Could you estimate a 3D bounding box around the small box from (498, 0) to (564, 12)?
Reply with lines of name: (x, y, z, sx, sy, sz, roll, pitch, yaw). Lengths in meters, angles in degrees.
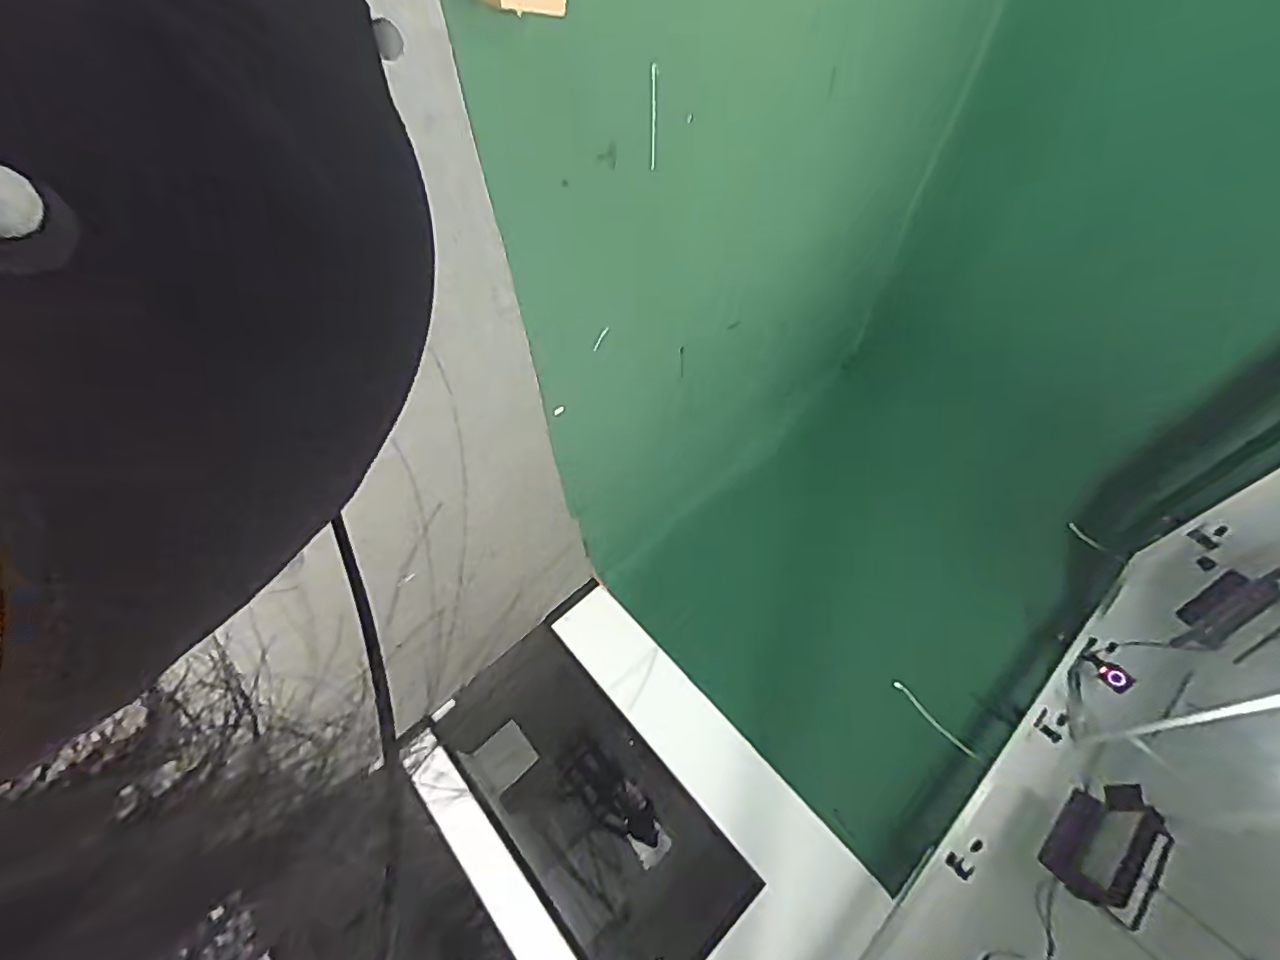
small box: (-0.277, -1.153, 1.175, 0.179, 0.176, 0.168, -29, 151, -36)
